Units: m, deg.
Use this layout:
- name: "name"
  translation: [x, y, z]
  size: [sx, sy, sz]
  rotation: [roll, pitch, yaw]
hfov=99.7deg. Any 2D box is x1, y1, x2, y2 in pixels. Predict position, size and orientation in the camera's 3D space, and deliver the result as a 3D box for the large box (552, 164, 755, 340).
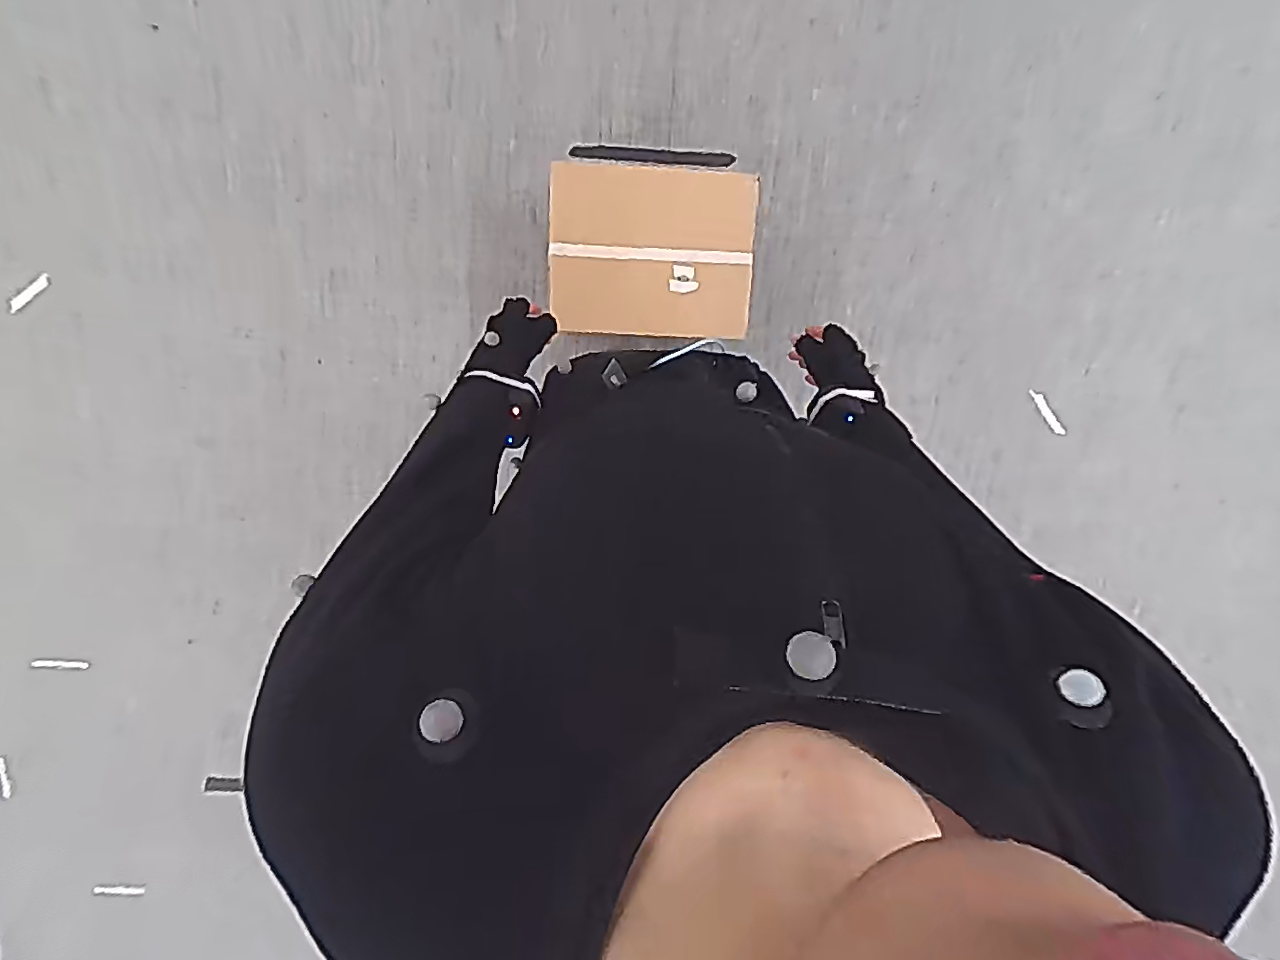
- name: "large box"
  translation: [0.015, -0.486, 1.227]
  size: [0.408, 0.320, 0.320]
  rotation: [2, 104, -3]
